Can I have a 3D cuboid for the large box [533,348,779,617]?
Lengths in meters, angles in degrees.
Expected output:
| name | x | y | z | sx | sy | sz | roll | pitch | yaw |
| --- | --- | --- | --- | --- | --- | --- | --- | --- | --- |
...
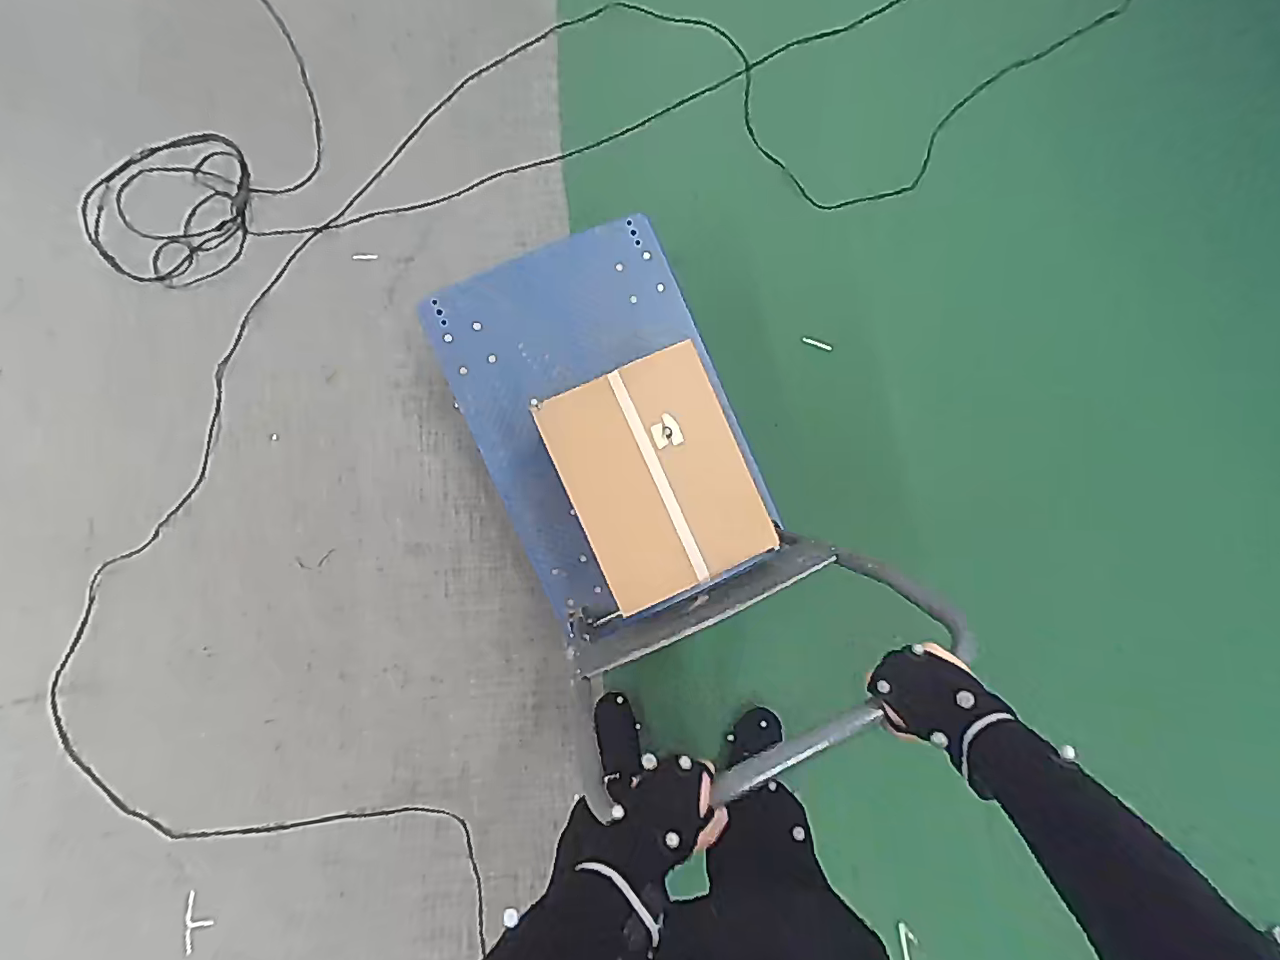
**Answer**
| name | x | y | z | sx | sy | sz | roll | pitch | yaw |
| --- | --- | --- | --- | --- | --- | --- | --- | --- | --- |
| large box | 0.021 | 0.006 | 1.107 | 0.320 | 0.320 | 0.408 | -25 | 92 | -6 |
